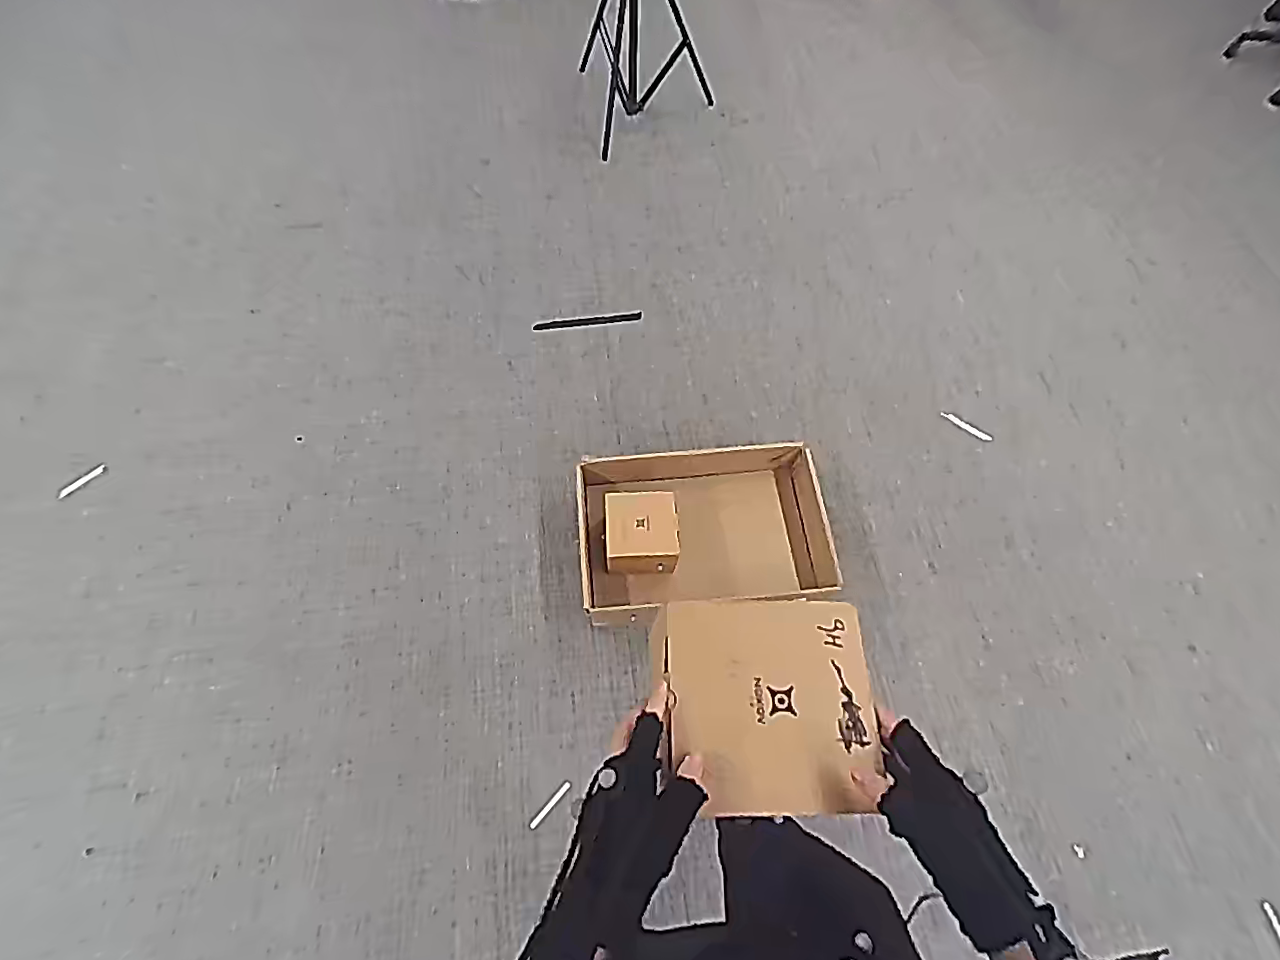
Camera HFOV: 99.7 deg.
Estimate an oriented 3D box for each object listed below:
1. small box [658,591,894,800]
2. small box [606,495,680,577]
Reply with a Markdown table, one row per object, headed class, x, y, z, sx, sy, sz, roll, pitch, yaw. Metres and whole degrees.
| class | x | y | z | sx | sy | sz | roll | pitch | yaw |
| --- | --- | --- | --- | --- | --- | --- | --- | --- | --- |
| small box | 0.108 | 0.210 | 0.522 | 0.179 | 0.176 | 0.168 | 1 | 63 | -3 |
| small box | 0.002 | 0.147 | 1.377 | 0.179 | 0.176 | 0.168 | -2 | 65 | -3 |
